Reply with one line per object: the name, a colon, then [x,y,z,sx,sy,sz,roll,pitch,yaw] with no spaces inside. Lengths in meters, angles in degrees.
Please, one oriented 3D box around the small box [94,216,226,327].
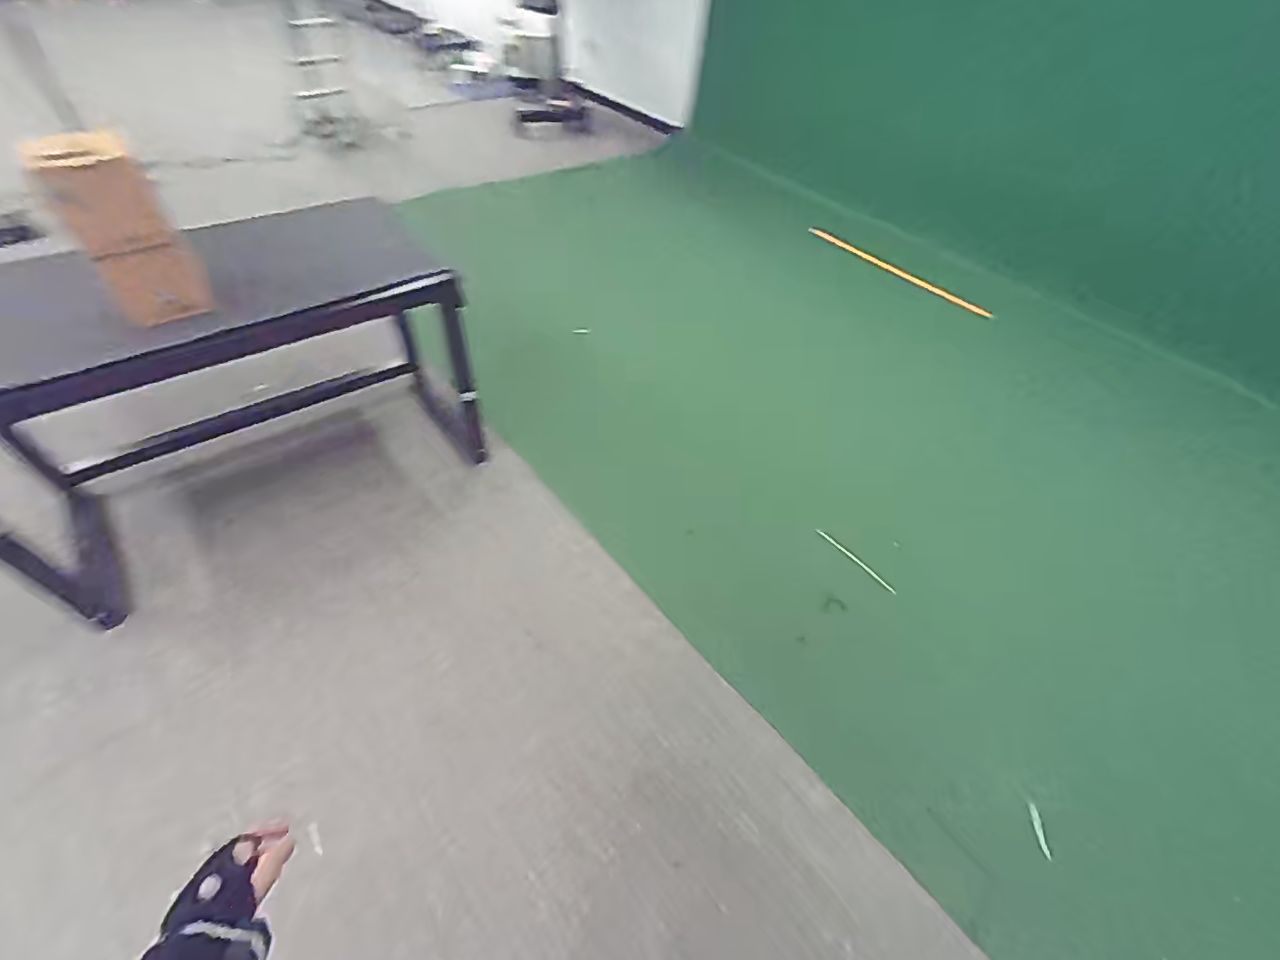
small box: [-1.091,-0.477,1.237,0.168,0.176,0.179,-27,55,-27]
